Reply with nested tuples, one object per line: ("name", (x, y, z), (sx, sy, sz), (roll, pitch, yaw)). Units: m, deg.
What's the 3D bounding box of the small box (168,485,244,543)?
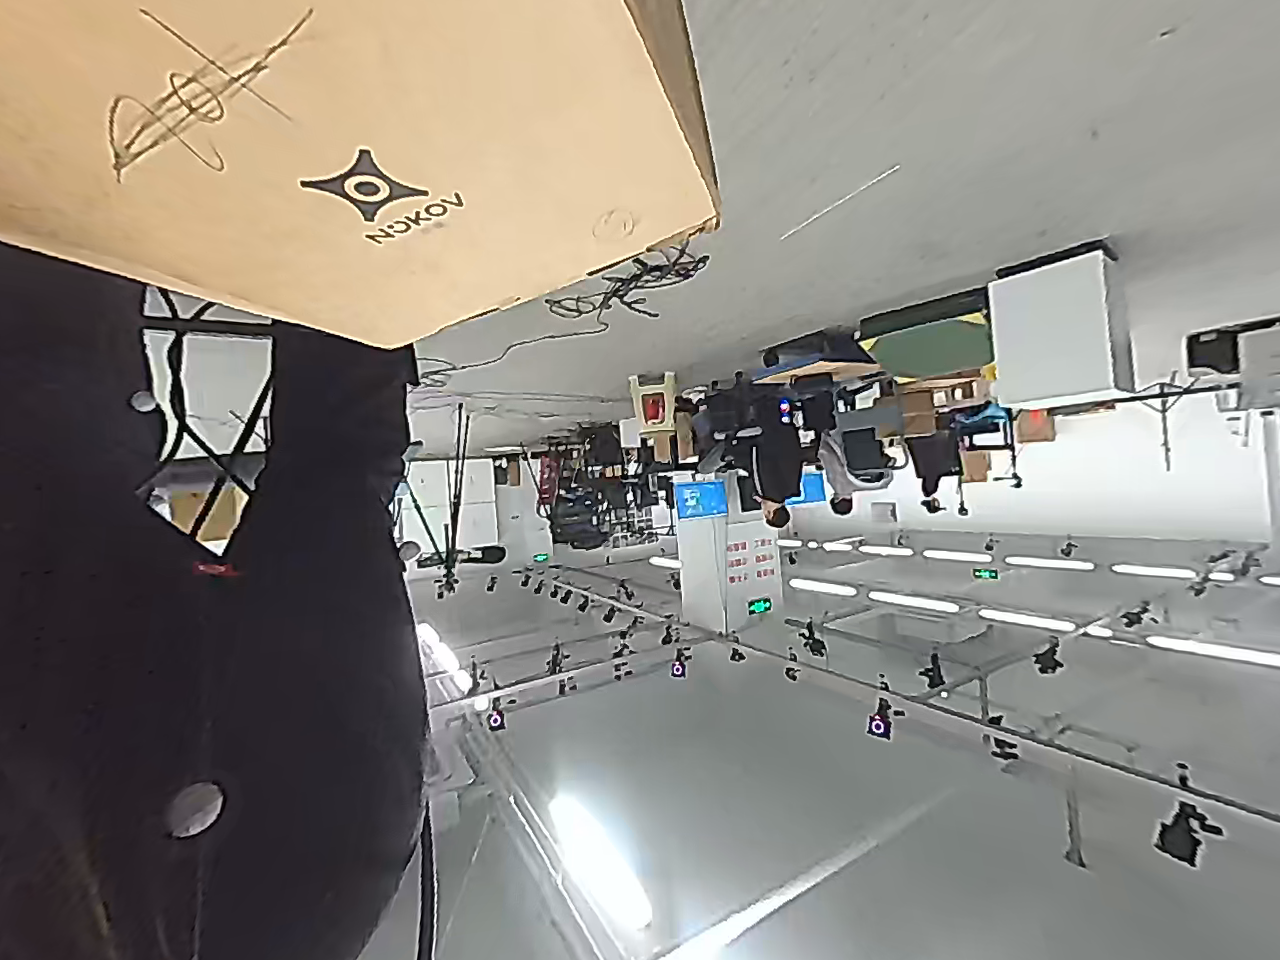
("small box", (-1.373, 0.104, 1.718), (0.168, 0.176, 0.179), (-5, 179, -30))
